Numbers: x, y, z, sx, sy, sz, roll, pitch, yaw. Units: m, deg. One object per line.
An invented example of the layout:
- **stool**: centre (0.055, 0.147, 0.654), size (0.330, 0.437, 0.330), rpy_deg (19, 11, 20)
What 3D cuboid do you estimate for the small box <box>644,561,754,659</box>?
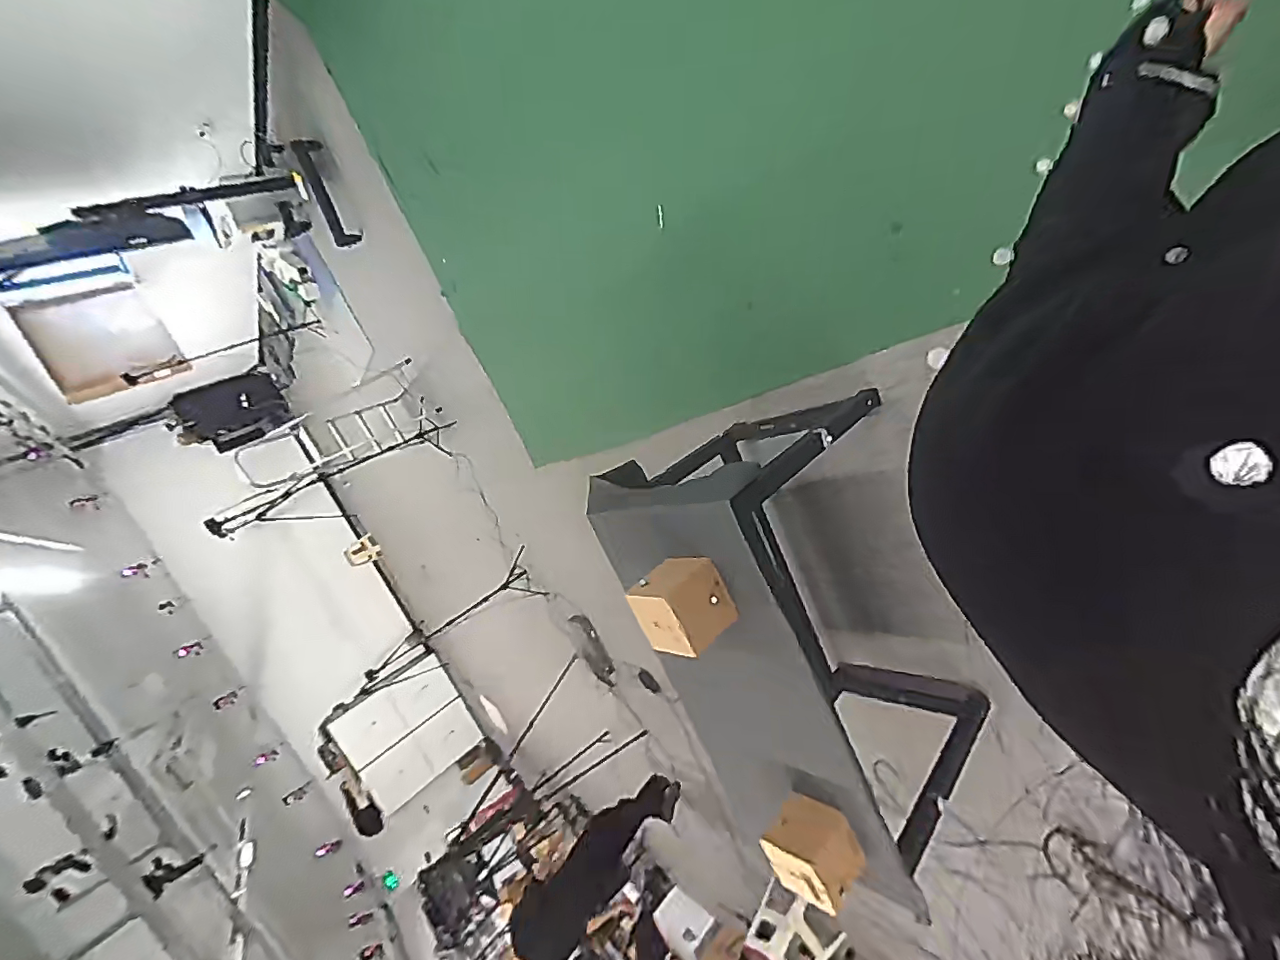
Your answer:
- **small box**: centre (0.147, 0.313, 1.336), size (0.179, 0.176, 0.168), rpy_deg (-15, 106, 56)
